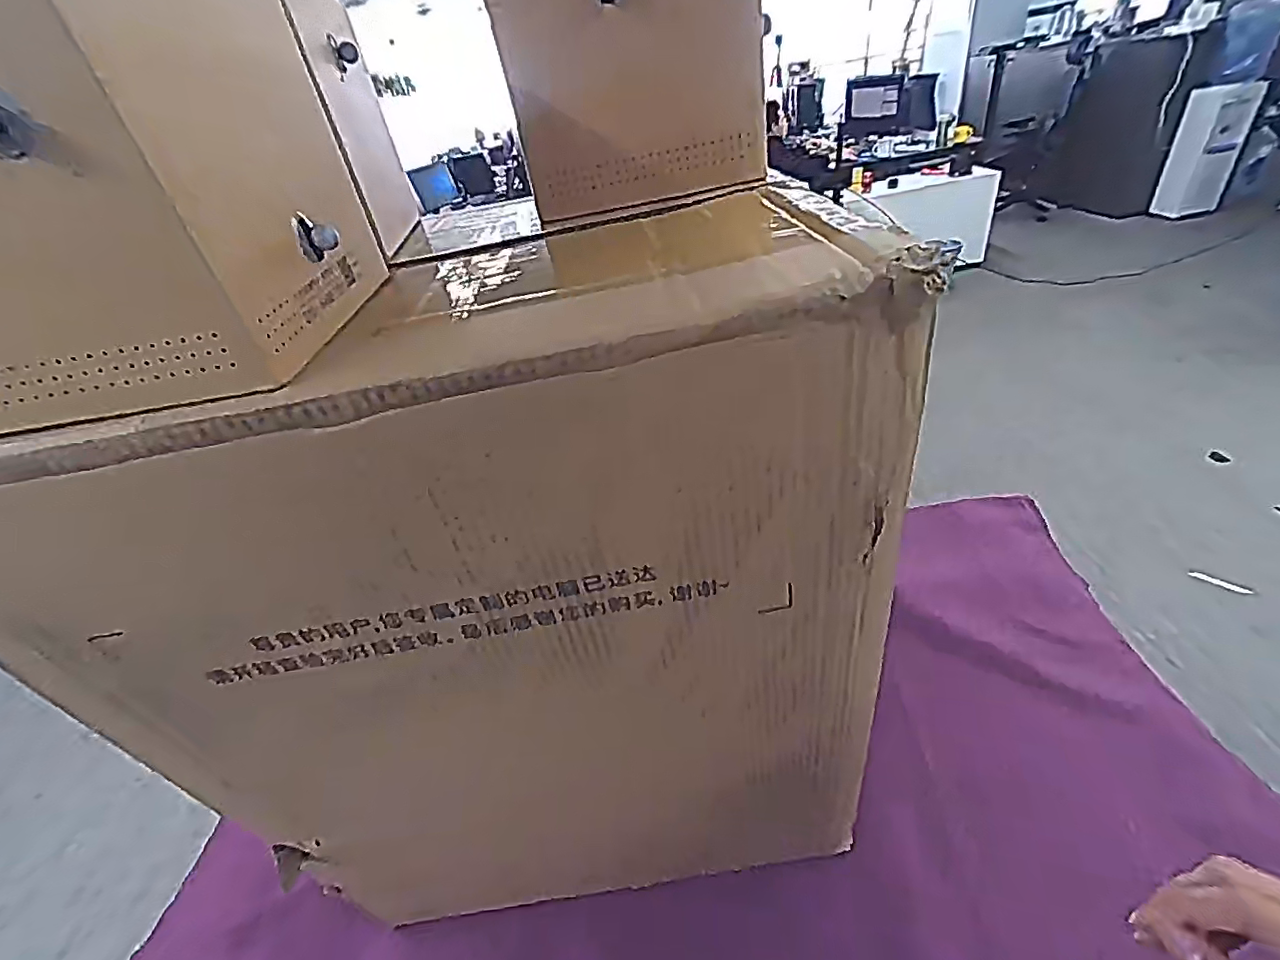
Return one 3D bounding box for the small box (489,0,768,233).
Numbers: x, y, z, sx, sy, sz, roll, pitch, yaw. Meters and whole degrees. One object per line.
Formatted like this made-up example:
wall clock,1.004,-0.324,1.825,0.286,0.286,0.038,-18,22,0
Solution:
small box,0.002,-0.312,0.424,0.179,0.176,0.168,-8,36,7
